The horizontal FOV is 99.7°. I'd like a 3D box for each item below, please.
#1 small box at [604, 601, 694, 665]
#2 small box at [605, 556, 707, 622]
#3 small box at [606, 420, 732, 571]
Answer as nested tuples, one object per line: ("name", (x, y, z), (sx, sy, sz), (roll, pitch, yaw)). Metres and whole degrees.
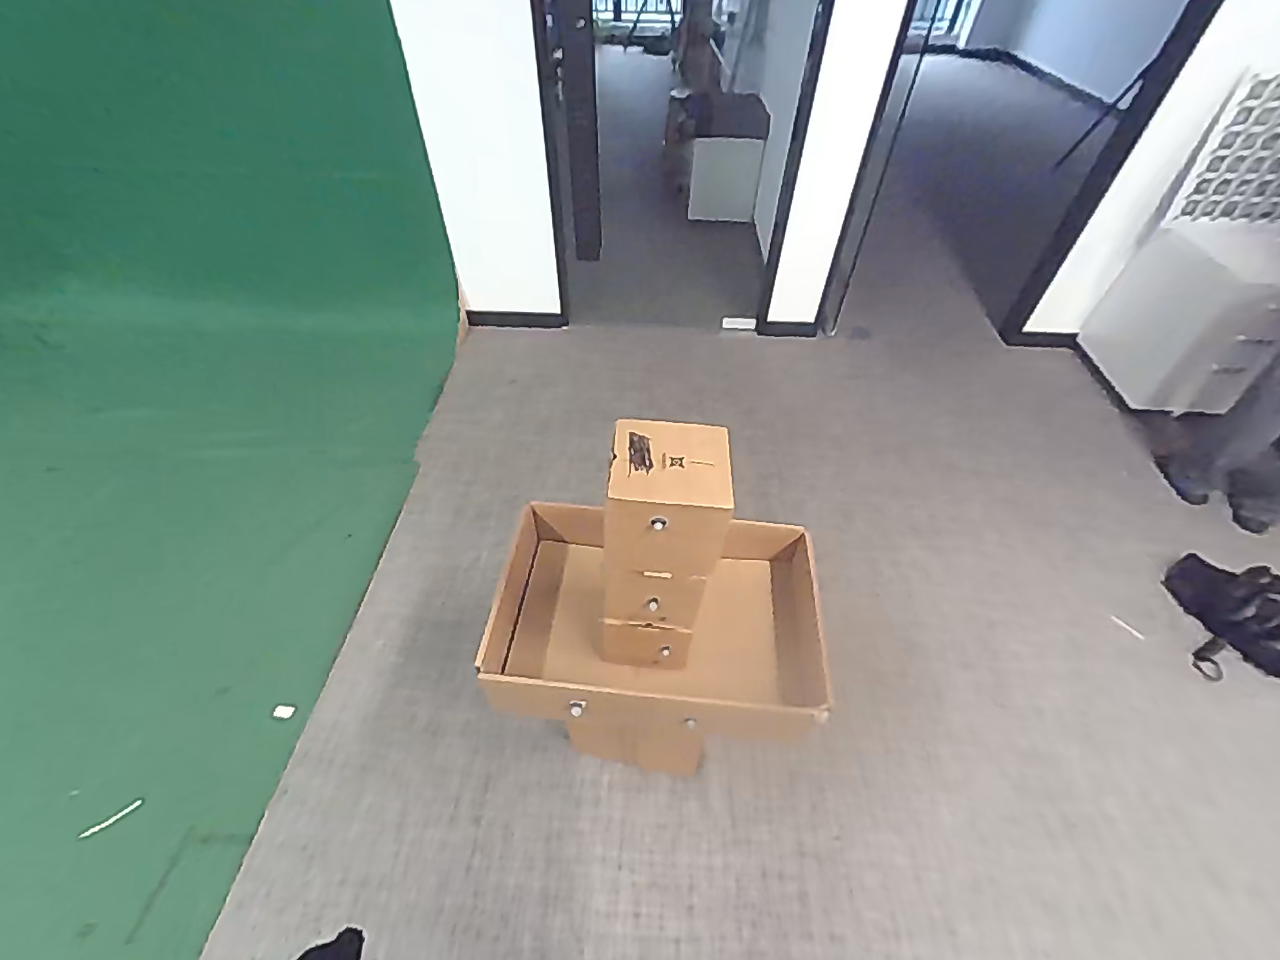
("small box", (0.020, 0.253, 1.086), (0.168, 0.176, 0.179), (5, 46, 1))
("small box", (0.030, 0.136, 0.971), (0.168, 0.176, 0.179), (6, 48, 1))
("small box", (0.040, 0.028, 0.847), (0.179, 0.176, 0.168), (5, 48, -1))
